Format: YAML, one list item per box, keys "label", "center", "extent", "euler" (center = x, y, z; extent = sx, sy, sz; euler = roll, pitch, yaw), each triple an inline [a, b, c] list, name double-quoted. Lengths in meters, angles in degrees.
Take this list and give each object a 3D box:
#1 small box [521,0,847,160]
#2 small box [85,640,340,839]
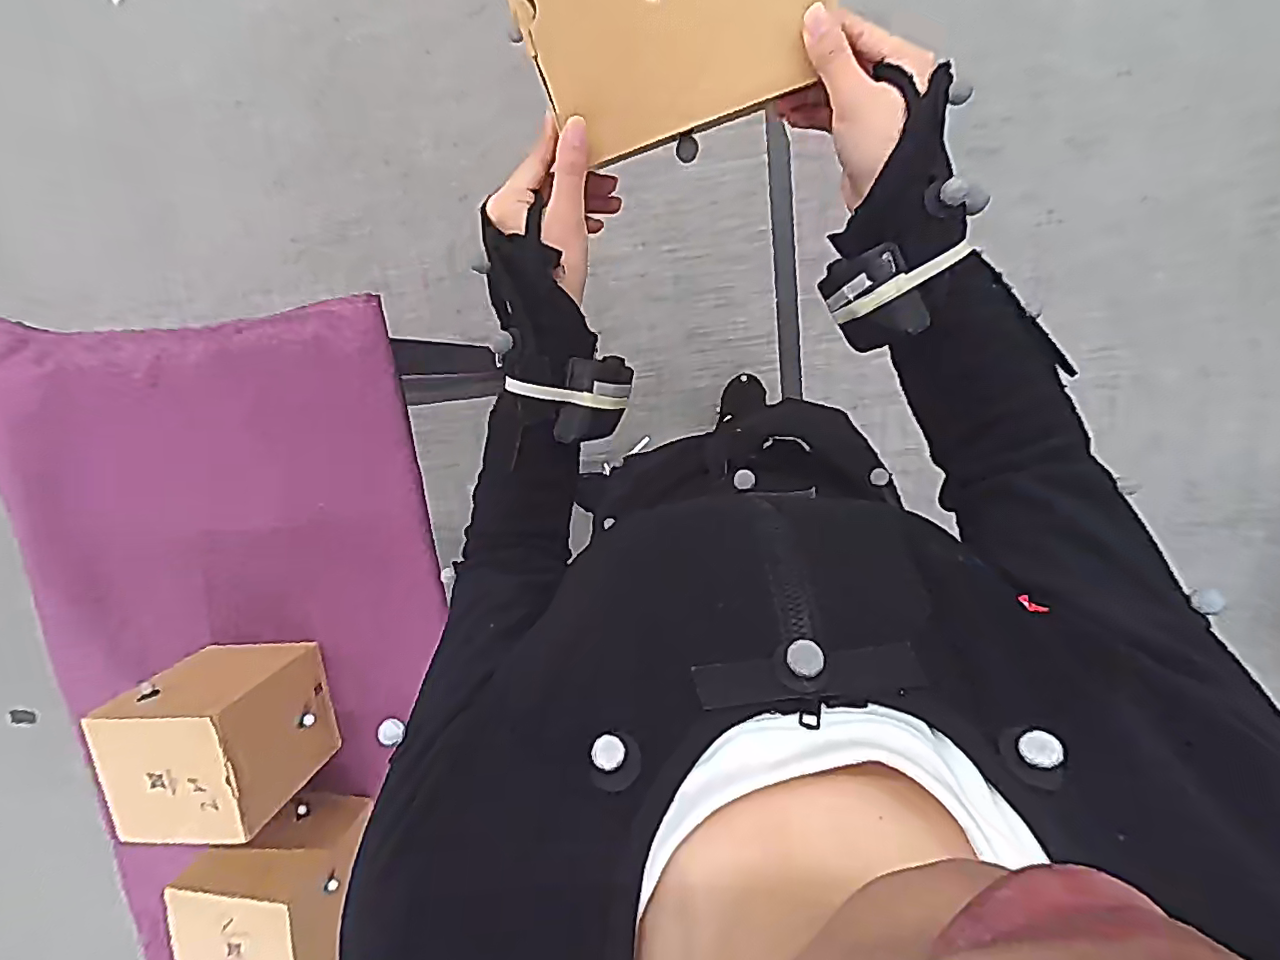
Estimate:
- label: "small box"
  center: [0.010, -0.330, 0.356]
  extent: [0.179, 0.176, 0.168]
  euler: [-18, 119, 5]
- label: "small box"
  center: [-0.530, 0.320, 0.694]
  extent: [0.179, 0.176, 0.168]
  euler: [-4, 101, 8]
